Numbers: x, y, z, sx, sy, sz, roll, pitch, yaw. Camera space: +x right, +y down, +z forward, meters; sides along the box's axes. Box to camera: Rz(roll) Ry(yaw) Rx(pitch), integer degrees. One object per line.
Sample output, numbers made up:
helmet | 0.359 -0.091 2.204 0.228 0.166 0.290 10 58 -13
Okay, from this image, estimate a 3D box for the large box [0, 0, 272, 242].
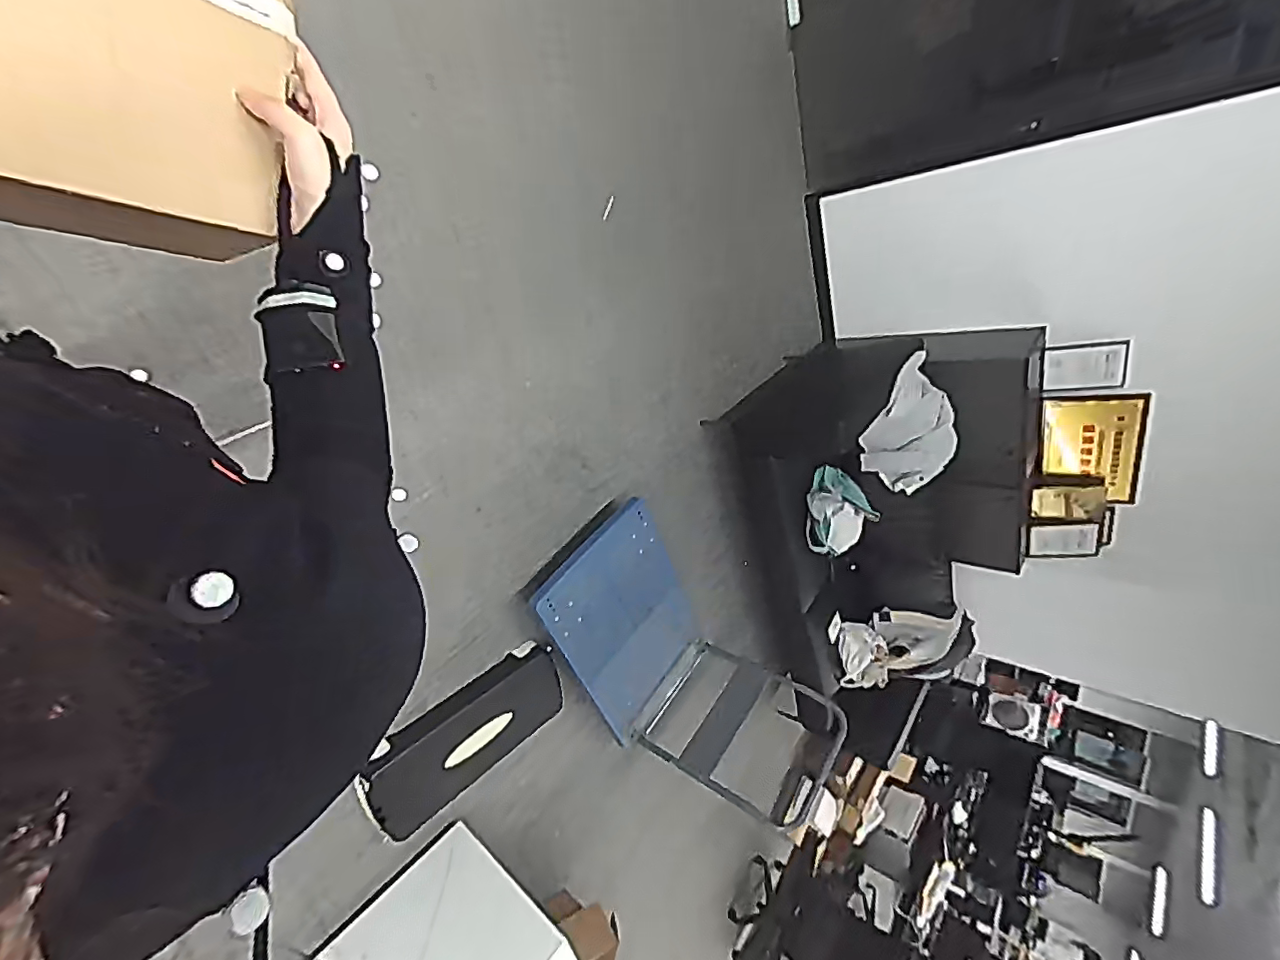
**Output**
large box | -0.532 -0.379 0.384 0.408 0.320 0.320 -4 106 -44
